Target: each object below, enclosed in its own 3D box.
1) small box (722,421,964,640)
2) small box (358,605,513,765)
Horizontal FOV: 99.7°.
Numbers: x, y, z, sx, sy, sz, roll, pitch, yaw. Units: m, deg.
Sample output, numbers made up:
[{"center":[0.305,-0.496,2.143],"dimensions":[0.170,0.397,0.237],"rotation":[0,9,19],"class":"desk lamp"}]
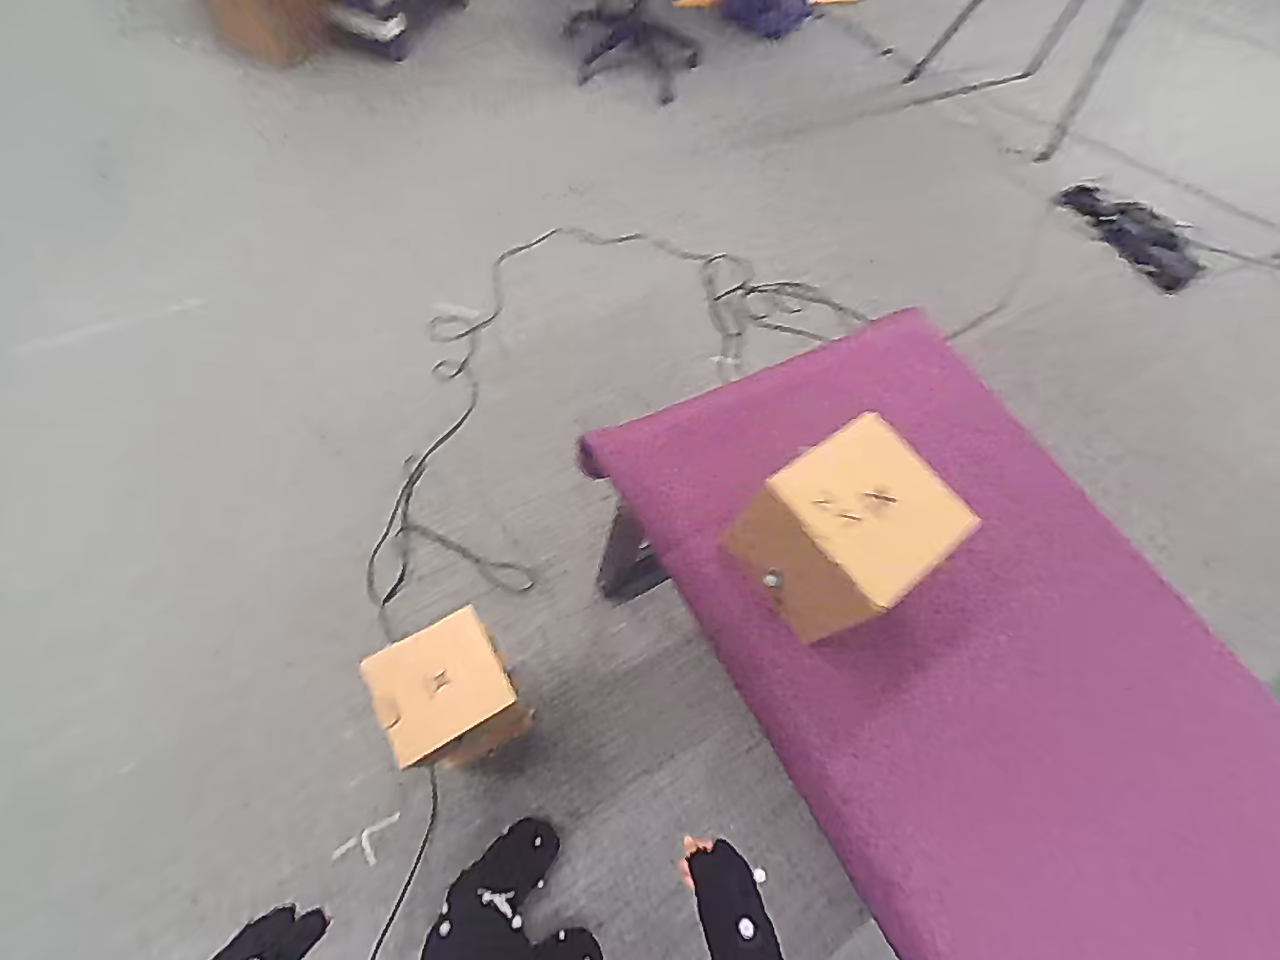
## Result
[{"center":[0.227,0.065,0.647],"dimensions":[0.179,0.176,0.168],"rotation":[-30,73,-24],"class":"small box"},{"center":[-0.314,0.328,0.869],"dimensions":[0.179,0.176,0.168],"rotation":[-26,71,-18],"class":"small box"}]
